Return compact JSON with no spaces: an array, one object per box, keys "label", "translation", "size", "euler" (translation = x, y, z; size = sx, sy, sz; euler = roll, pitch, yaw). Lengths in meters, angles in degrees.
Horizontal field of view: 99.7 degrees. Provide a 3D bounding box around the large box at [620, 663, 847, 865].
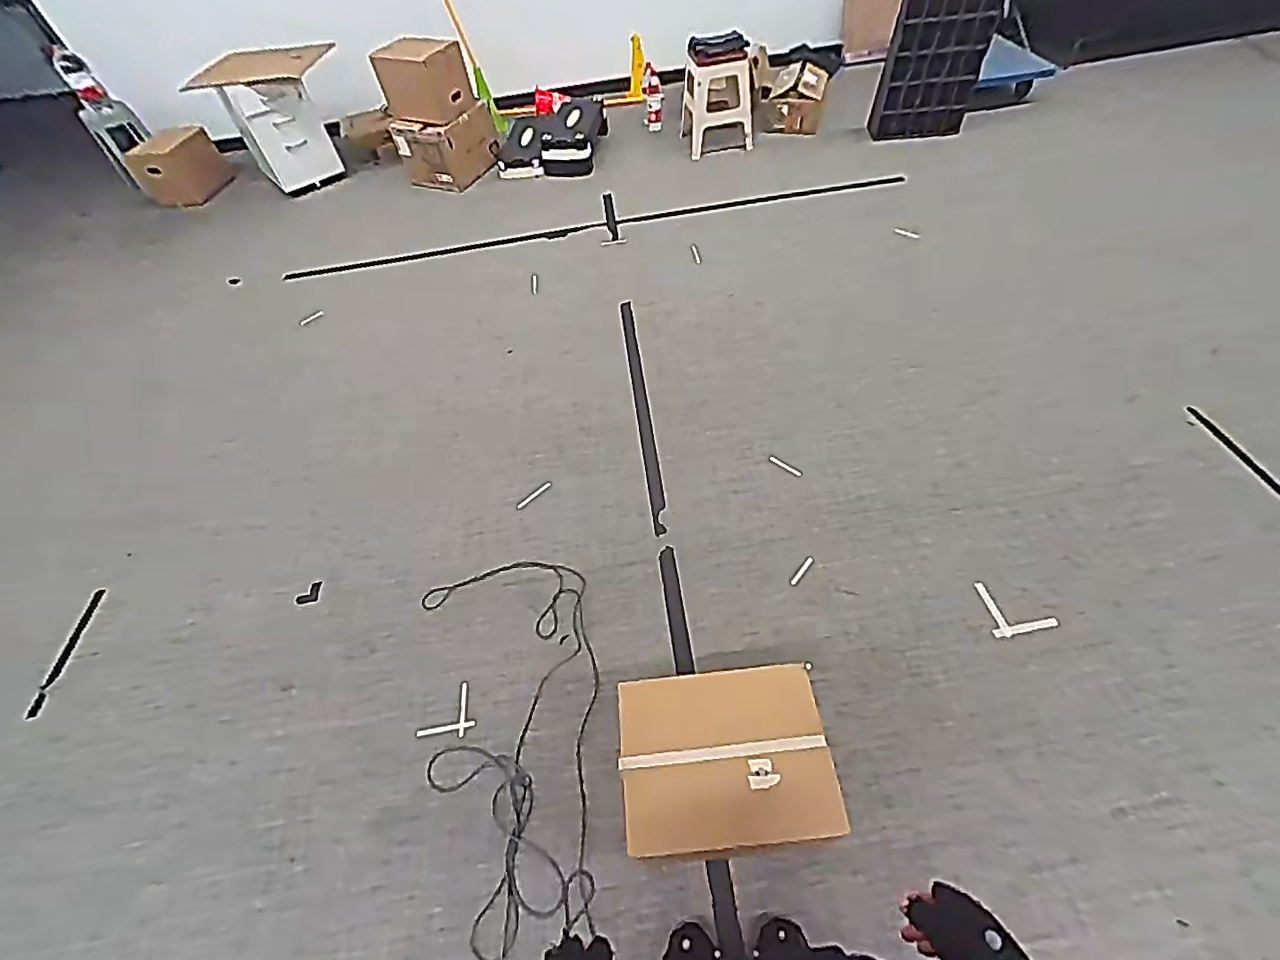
[{"label":"large box","translation":[0.178,0.631,1.191],"size":[0.408,0.320,0.320],"euler":[-7,53,1]}]
